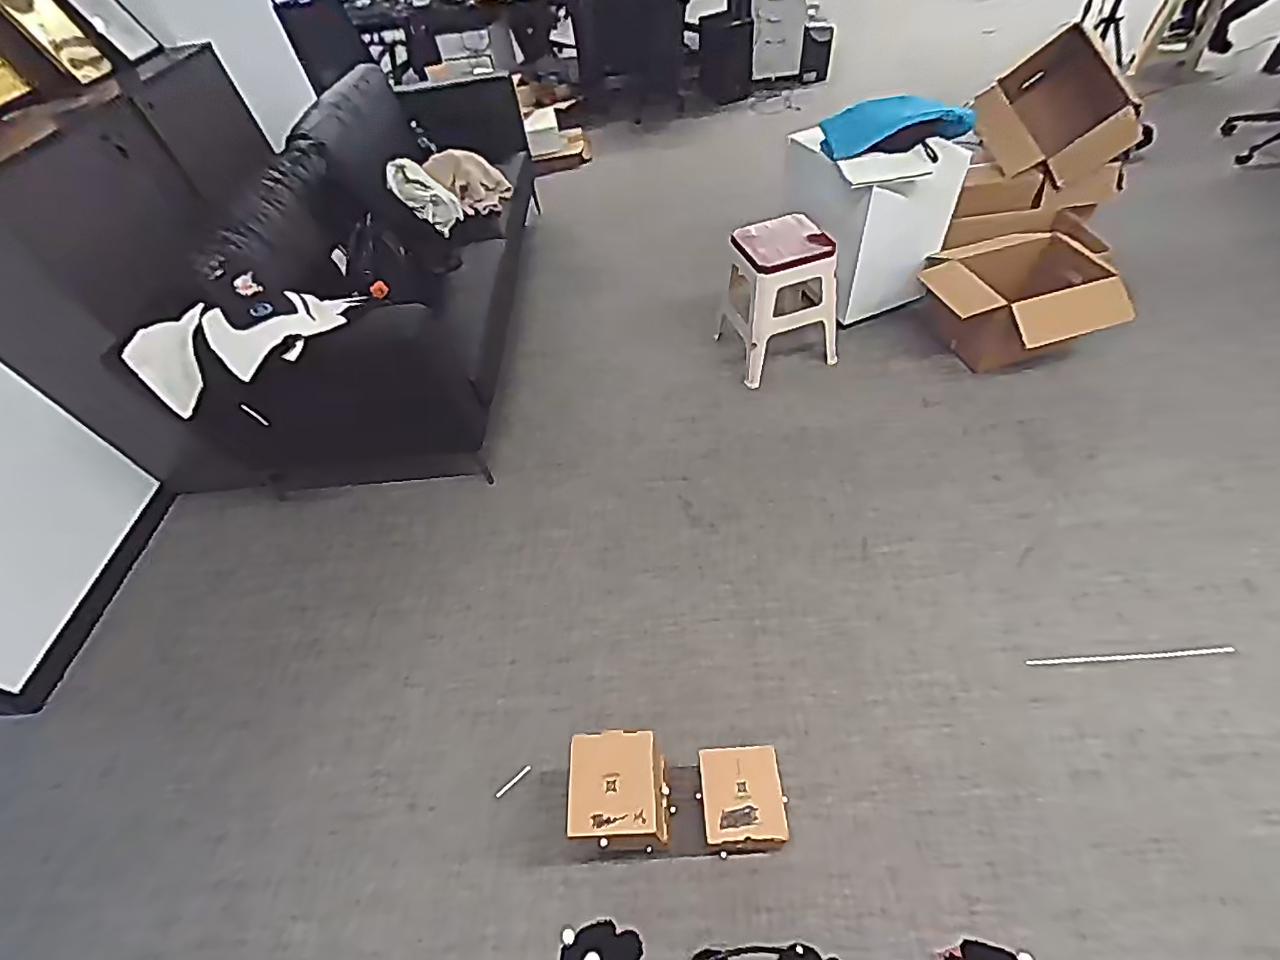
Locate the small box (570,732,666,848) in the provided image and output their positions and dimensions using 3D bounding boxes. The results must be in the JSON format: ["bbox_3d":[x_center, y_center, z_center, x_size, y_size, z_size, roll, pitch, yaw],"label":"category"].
[{"bbox_3d":[-0.037,0.625,1.087,0.168,0.176,0.179,-5,49,5],"label":"small box"}]

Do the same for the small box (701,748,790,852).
[{"bbox_3d":[0.227,0.707,1.188,0.168,0.176,0.179,-5,49,4],"label":"small box"}]
